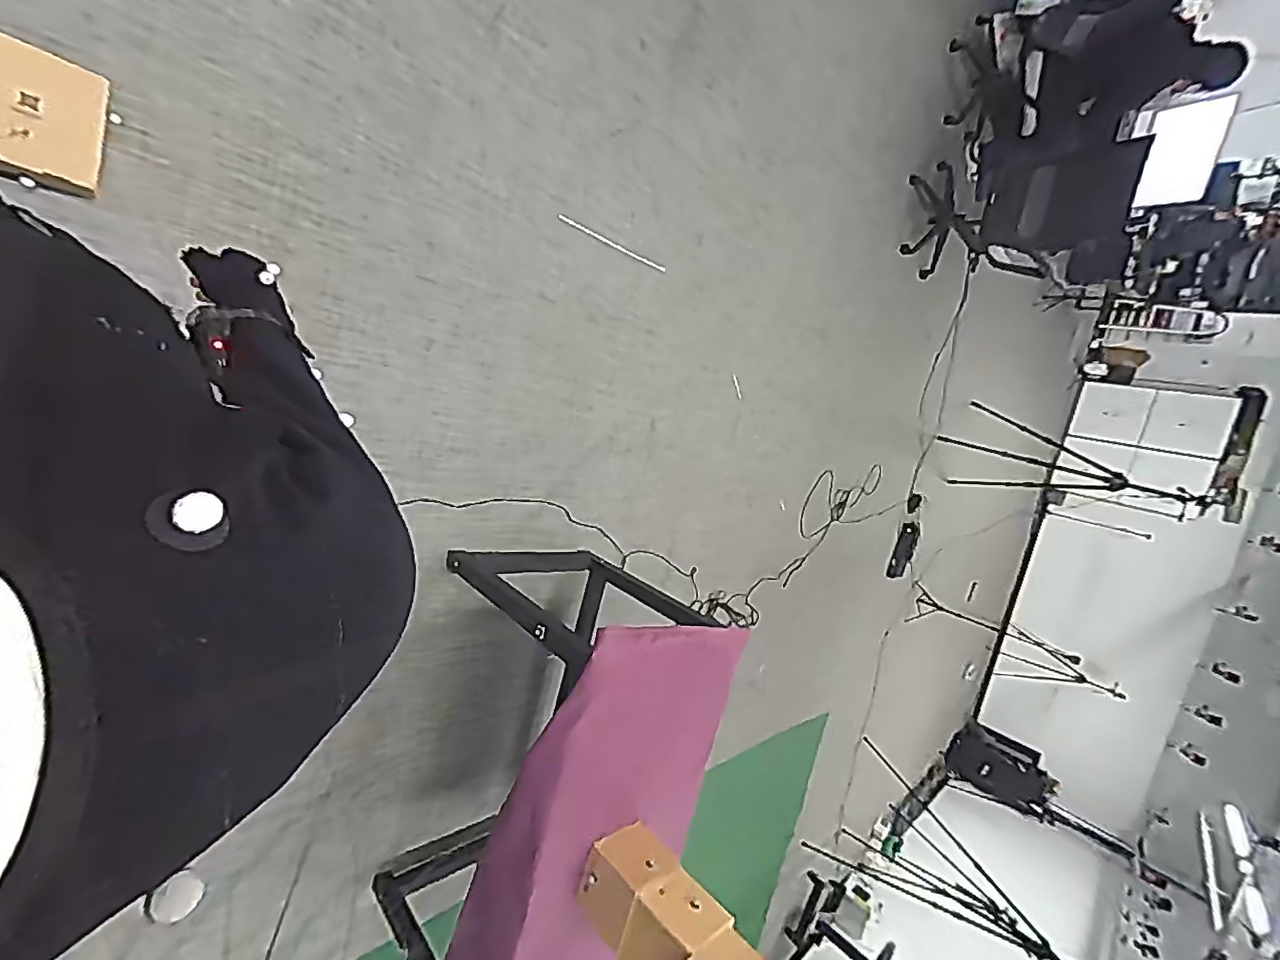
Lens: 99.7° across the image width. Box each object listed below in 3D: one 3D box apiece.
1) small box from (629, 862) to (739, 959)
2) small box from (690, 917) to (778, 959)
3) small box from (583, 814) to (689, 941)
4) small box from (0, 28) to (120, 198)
[{"bbox_3d":[0.099,1.033,1.253,0.168,0.176,0.179,11,97,-47],"label":"small box"},{"bbox_3d":[0.195,1.072,1.125,0.179,0.176,0.168,15,93,-48],"label":"small box"},{"bbox_3d":[-0.011,0.985,1.361,0.179,0.176,0.168,14,94,-46],"label":"small box"},{"bbox_3d":[-0.968,-0.586,0.876,0.168,0.176,0.179,6,101,-46],"label":"small box"}]
